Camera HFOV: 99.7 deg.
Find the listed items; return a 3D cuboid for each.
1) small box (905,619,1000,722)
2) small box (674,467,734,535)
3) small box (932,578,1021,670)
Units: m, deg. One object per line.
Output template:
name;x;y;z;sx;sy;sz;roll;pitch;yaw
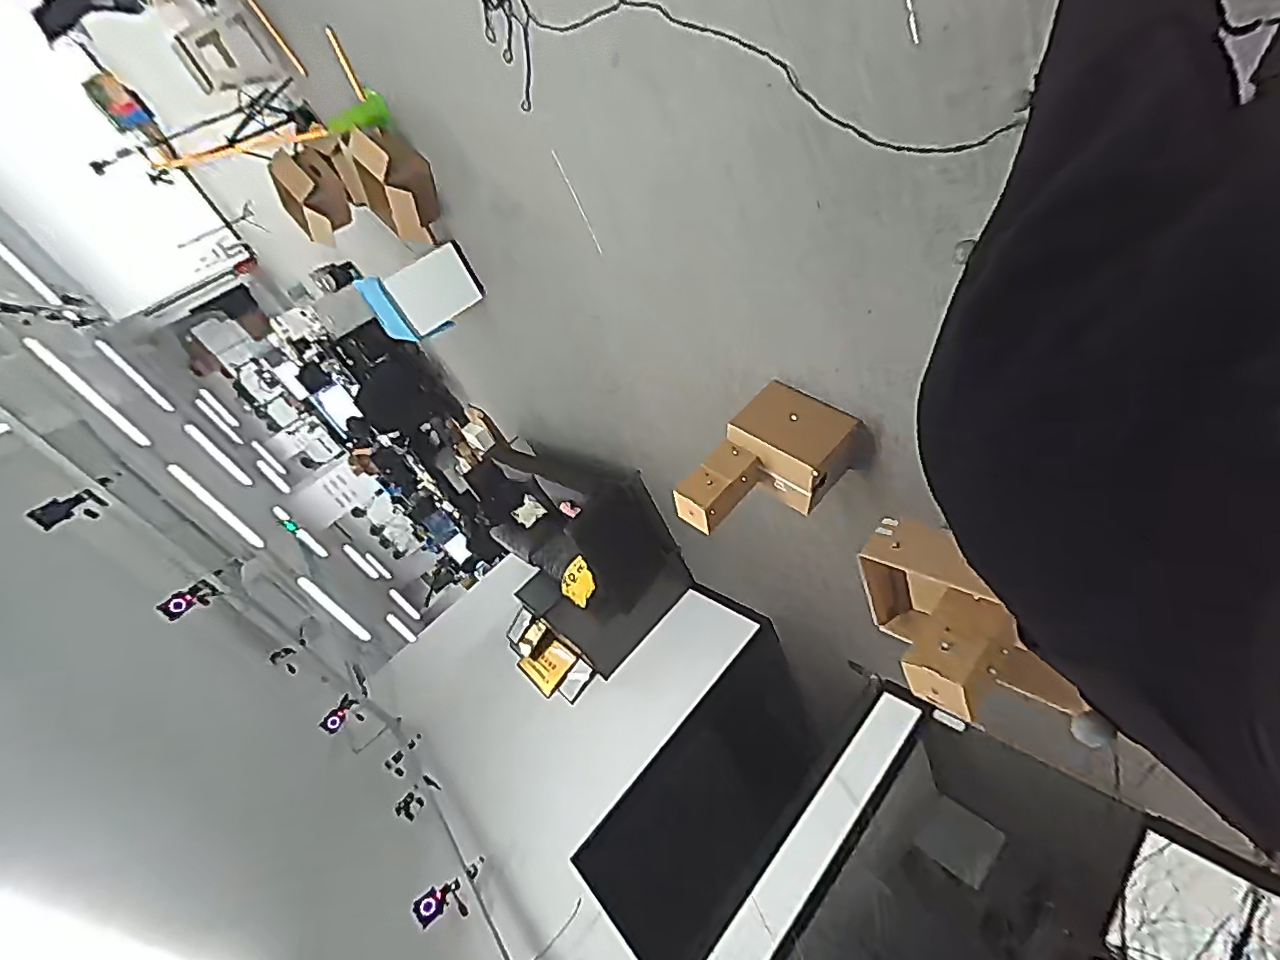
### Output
small box;0.871;0.521;1.503;0.168;0.176;0.179;16;141;53
small box;0.263;0.081;2.168;0.168;0.176;0.179;31;153;34
small box;0.981;0.418;1.569;0.168;0.176;0.179;17;143;50
